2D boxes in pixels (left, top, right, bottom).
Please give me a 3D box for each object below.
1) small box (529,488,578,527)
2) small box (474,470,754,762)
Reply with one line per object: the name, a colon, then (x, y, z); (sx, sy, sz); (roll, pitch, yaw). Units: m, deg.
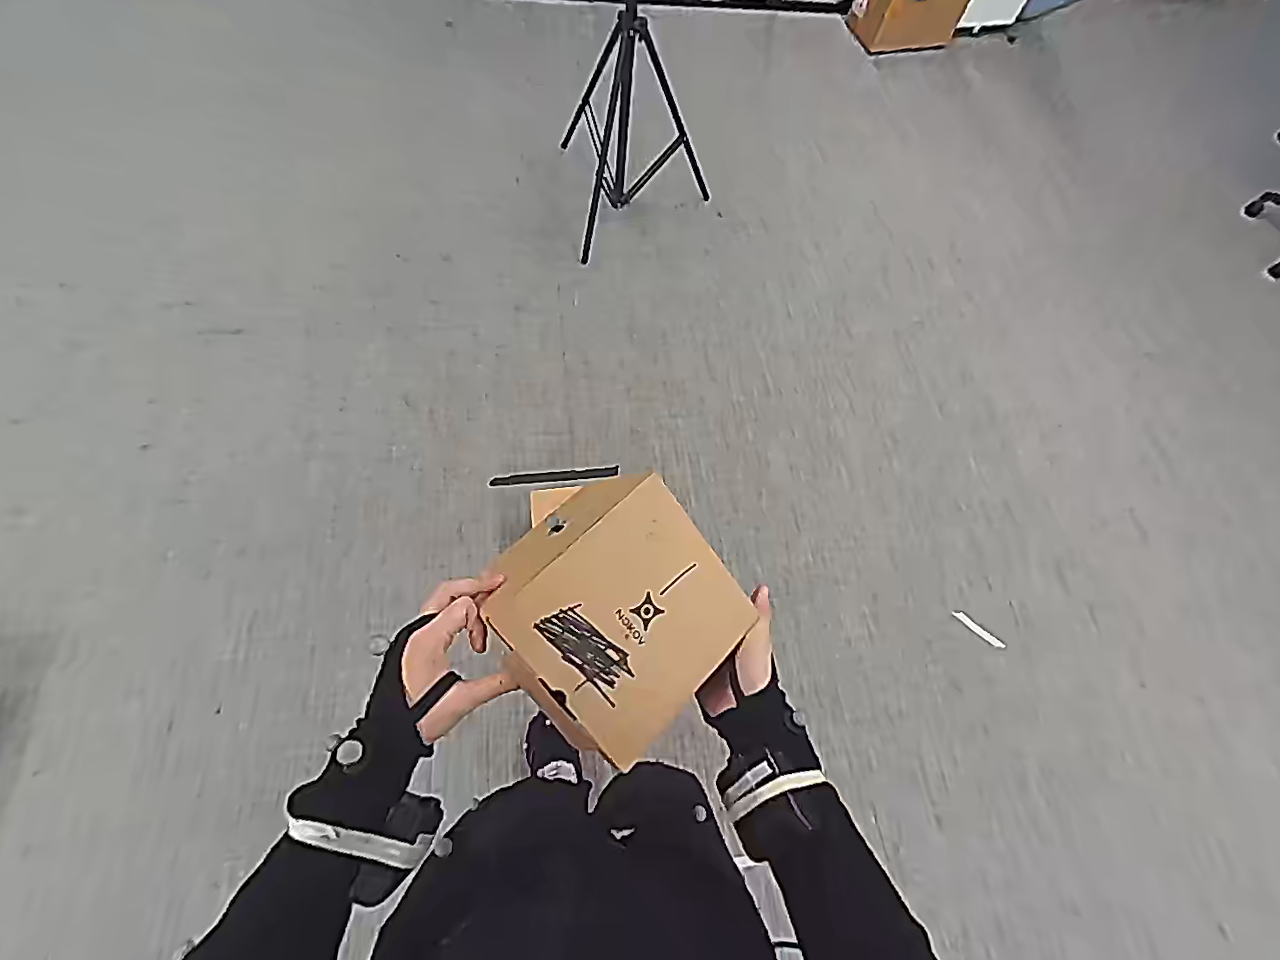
small box: (-0.196, 0.135, 1.415); (0.168, 0.176, 0.179); (-6, 66, -10)
small box: (-0.037, 0.112, 0.508); (0.179, 0.176, 0.168); (-43, 104, -21)
